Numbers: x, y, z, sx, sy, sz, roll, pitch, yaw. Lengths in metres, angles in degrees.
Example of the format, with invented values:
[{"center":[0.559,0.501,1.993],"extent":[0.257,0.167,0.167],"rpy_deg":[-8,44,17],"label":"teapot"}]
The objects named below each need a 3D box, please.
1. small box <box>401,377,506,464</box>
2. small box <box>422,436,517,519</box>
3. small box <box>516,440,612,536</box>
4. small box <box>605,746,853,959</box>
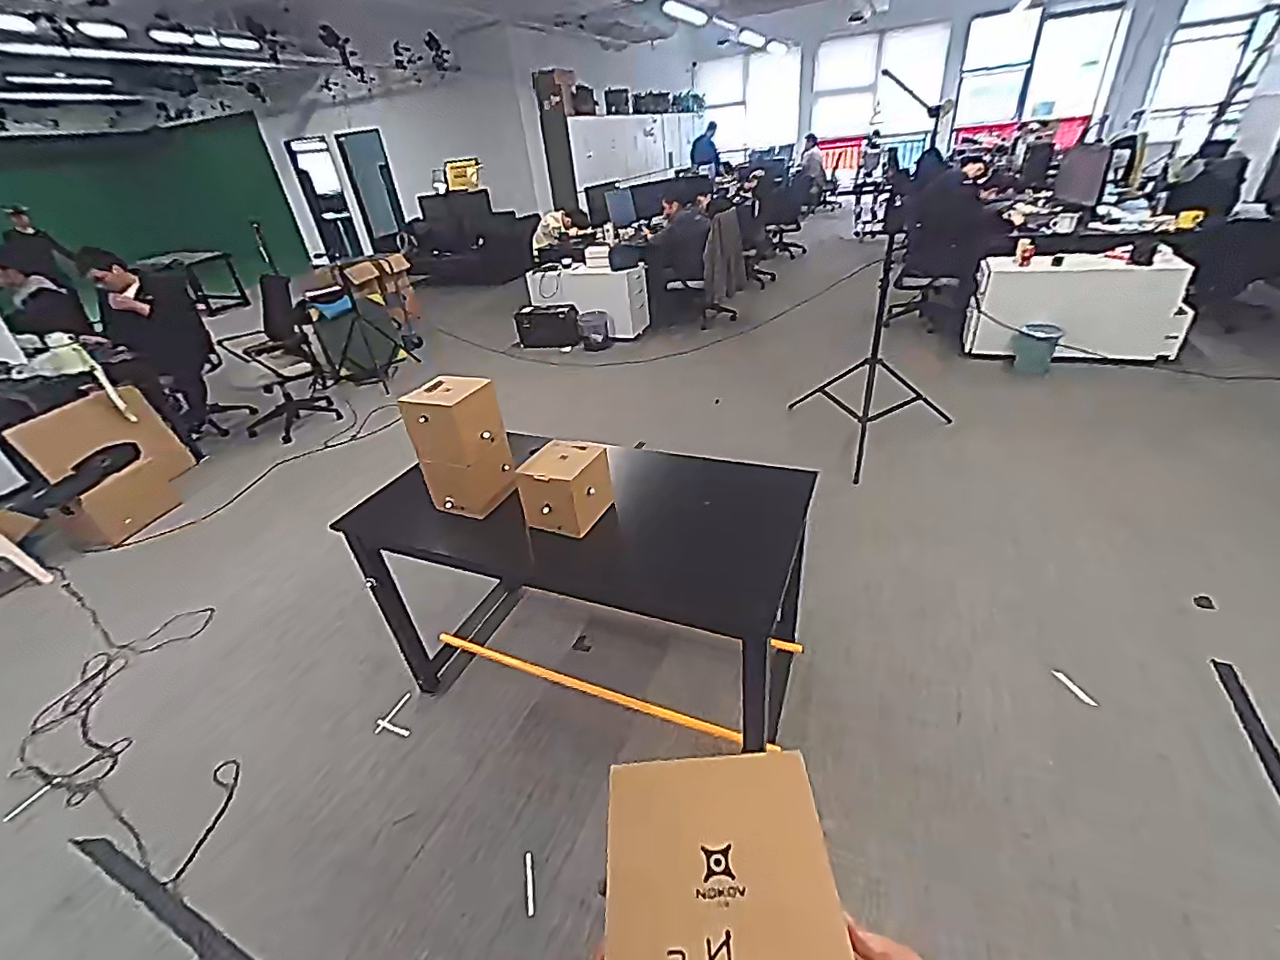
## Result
[{"center":[-0.476,-0.155,1.403],"extent":[0.179,0.176,0.168],"rpy_deg":[8,35,22],"label":"small box"},{"center":[-0.459,-0.017,1.491],"extent":[0.168,0.176,0.179],"rpy_deg":[8,36,23],"label":"small box"},{"center":[-0.184,0.019,1.381],"extent":[0.168,0.176,0.179],"rpy_deg":[10,36,24],"label":"small box"},{"center":[0.066,0.351,0.444],"extent":[0.168,0.176,0.179],"rpy_deg":[-7,35,4],"label":"small box"}]
